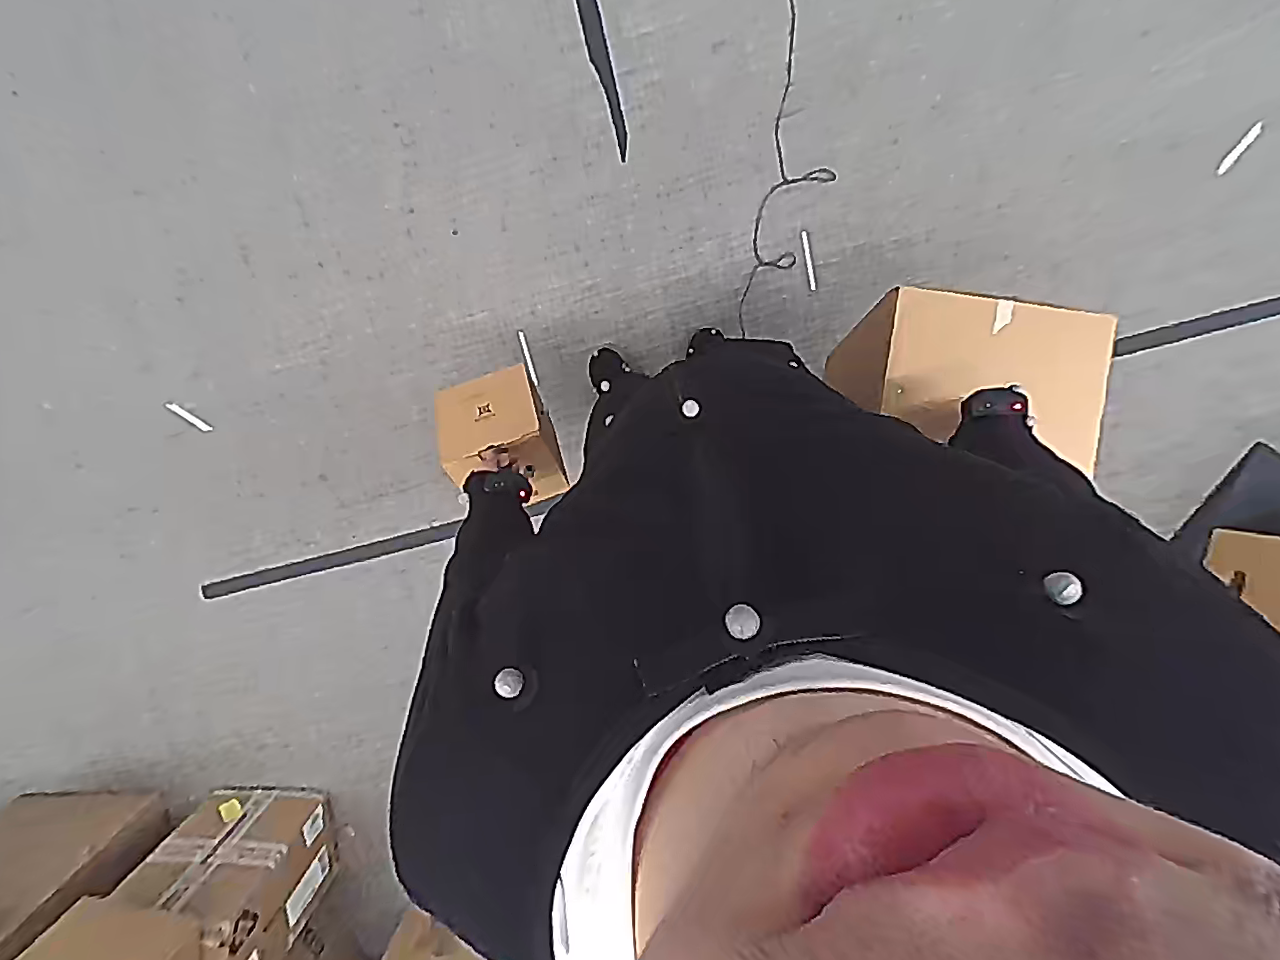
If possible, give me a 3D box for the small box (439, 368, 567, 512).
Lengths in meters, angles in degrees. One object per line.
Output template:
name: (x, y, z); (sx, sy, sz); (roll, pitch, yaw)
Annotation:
small box: (-0.241, -0.063, 0.969); (0.168, 0.179, 0.176); (-19, 142, -2)
